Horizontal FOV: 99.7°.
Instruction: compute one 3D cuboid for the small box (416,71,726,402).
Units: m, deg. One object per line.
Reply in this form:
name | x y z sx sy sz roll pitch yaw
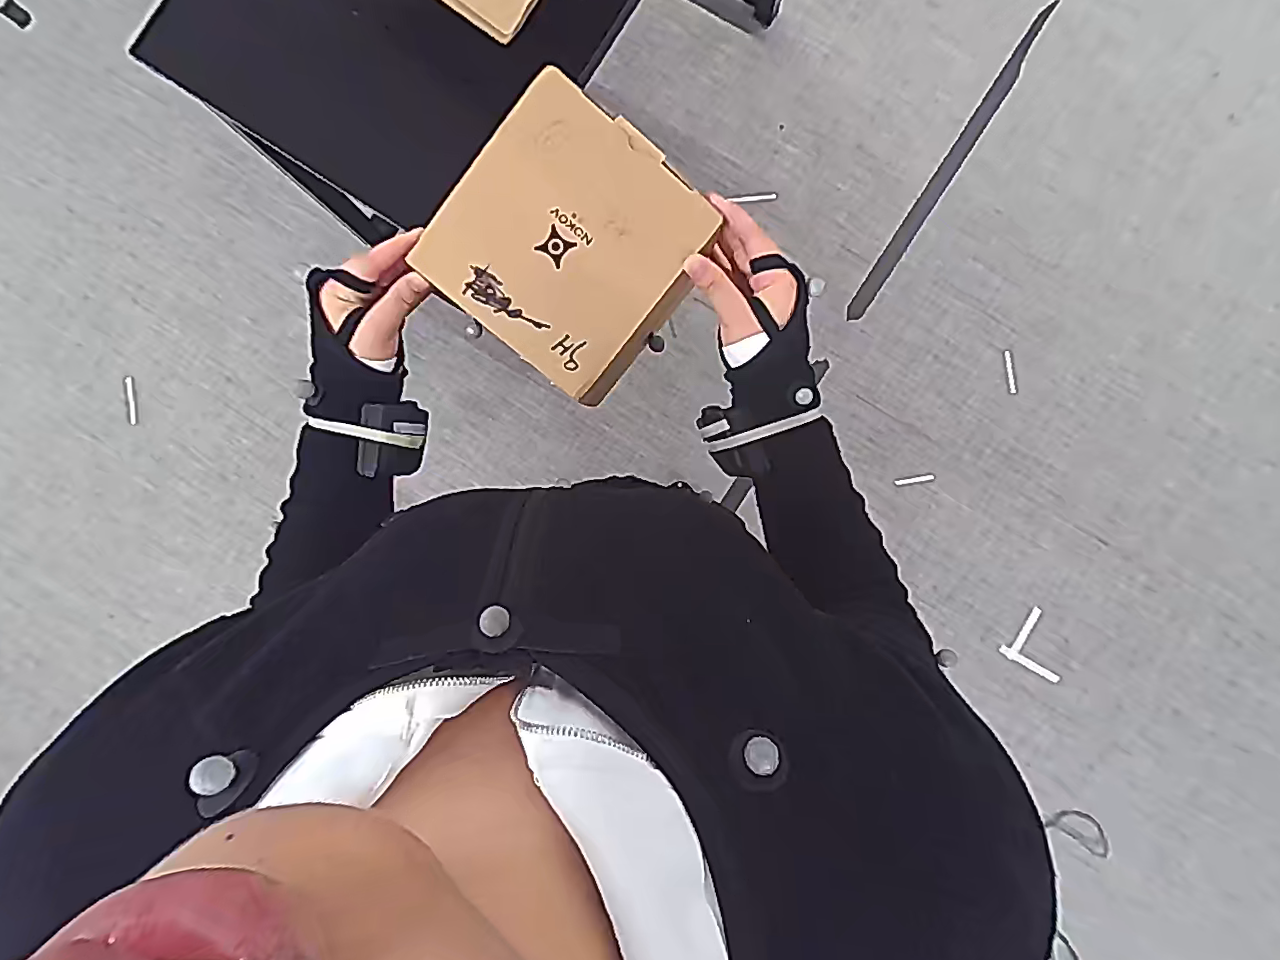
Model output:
small box | -0.053 -0.188 0.479 0.168 0.176 0.179 40 94 -4
